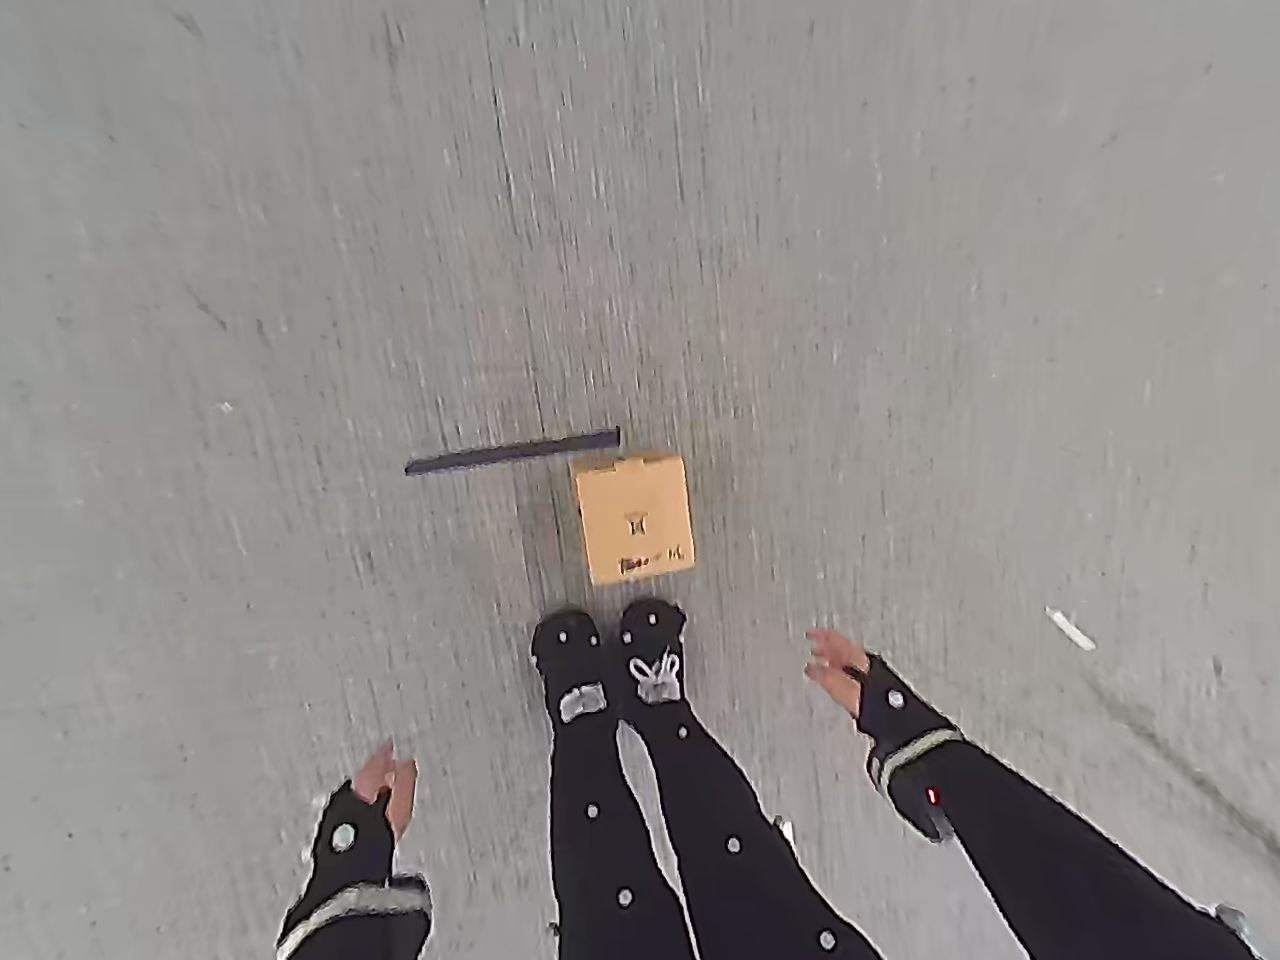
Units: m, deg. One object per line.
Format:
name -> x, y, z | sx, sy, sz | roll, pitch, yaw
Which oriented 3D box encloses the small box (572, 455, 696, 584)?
small box -> -0.017, 0.054, 0.896 | 0.168, 0.176, 0.179 | -9, 98, -9
